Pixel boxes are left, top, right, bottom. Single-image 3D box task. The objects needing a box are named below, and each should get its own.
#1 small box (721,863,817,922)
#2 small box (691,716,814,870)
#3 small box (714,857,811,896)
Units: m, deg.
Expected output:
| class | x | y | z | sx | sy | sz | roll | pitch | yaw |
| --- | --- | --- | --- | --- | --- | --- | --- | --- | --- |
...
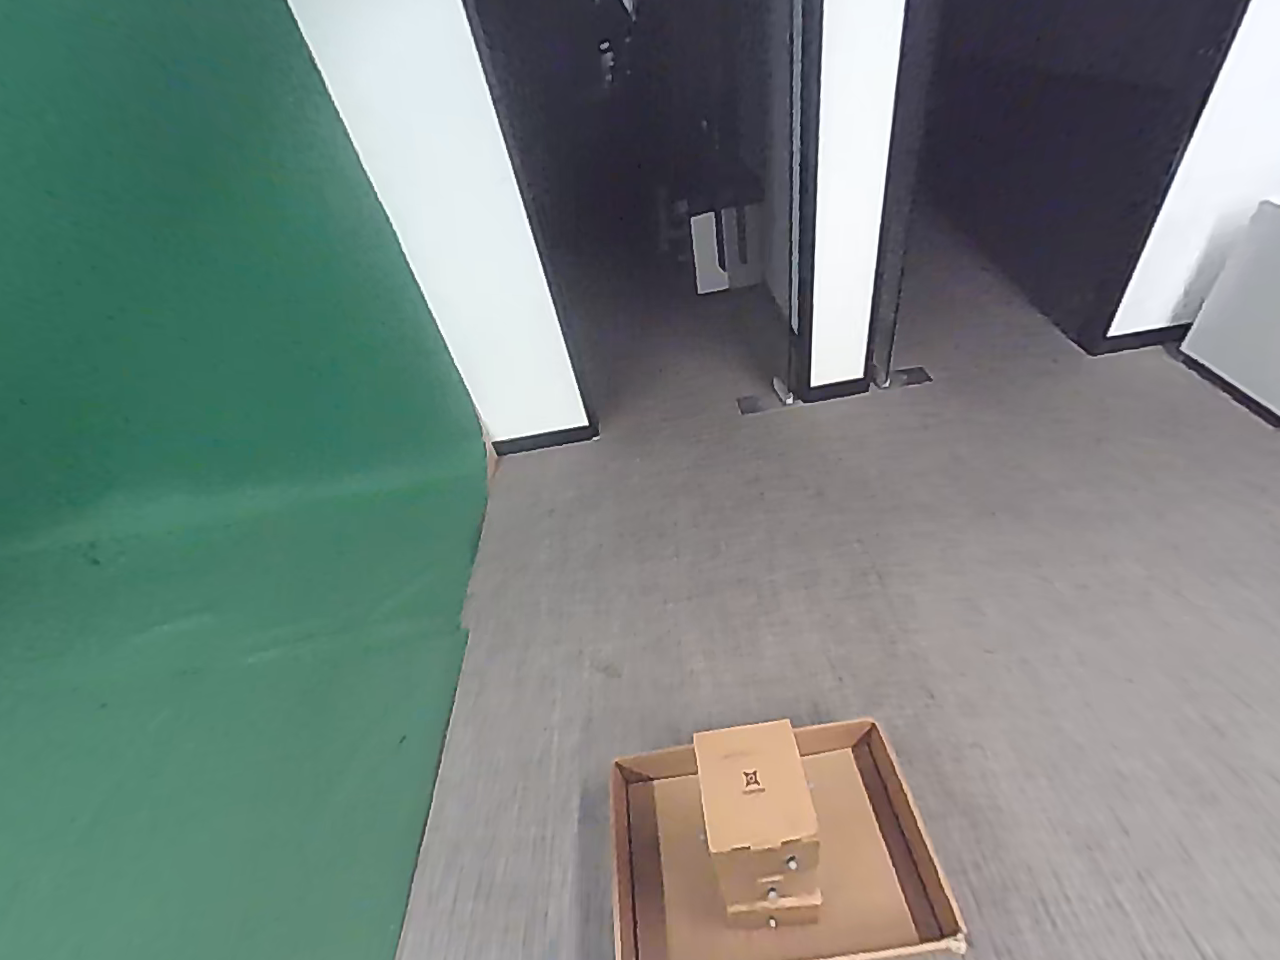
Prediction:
| class | x | y | z | sx | sy | sz | roll | pitch | yaw |
| --- | --- | --- | --- | --- | --- | --- | --- | --- | --- |
| small box | 0.254 | 0.785 | 1.111 | 0.179 | 0.176 | 0.168 | -10 | 40 | 7 |
| small box | 0.184 | 0.525 | 0.900 | 0.168 | 0.176 | 0.179 | -10 | 40 | 3 |
| small box | 0.218 | 0.658 | 1.020 | 0.168 | 0.176 | 0.179 | -13 | 40 | 3 |
